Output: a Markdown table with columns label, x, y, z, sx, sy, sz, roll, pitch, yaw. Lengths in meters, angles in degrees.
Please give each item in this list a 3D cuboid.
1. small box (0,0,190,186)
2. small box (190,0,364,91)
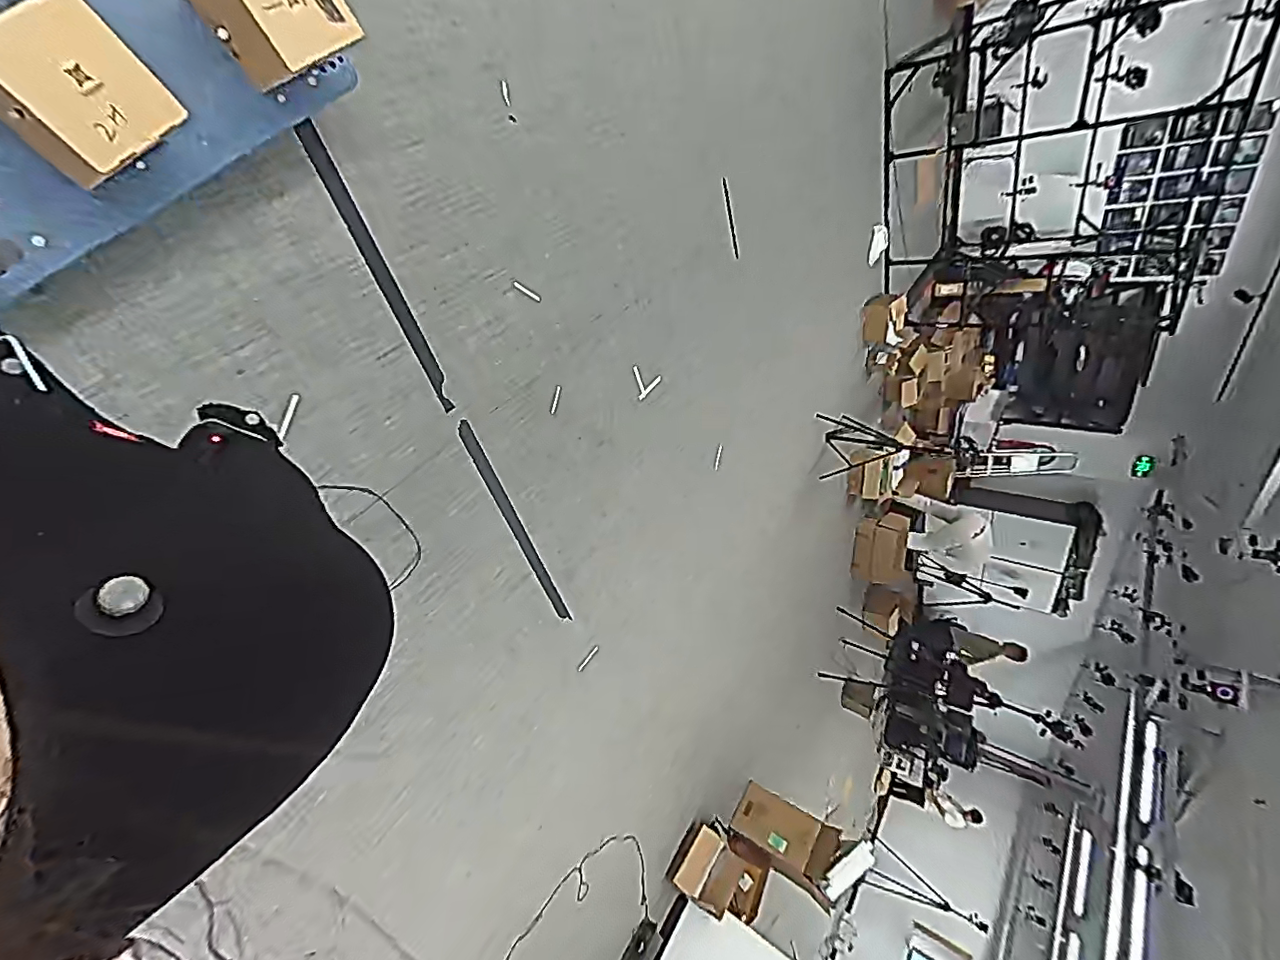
| label | x | y | z | sx | sy | sz | roll | pitch | yaw |
| --- | --- | --- | --- | --- | --- | --- | --- | --- | --- |
| small box | -0.845 | -0.574 | 0.809 | 0.168 | 0.176 | 0.179 | -58 | 140 | -23 |
| small box | -0.654 | -0.841 | 0.975 | 0.179 | 0.176 | 0.168 | -54 | 138 | -26 |
